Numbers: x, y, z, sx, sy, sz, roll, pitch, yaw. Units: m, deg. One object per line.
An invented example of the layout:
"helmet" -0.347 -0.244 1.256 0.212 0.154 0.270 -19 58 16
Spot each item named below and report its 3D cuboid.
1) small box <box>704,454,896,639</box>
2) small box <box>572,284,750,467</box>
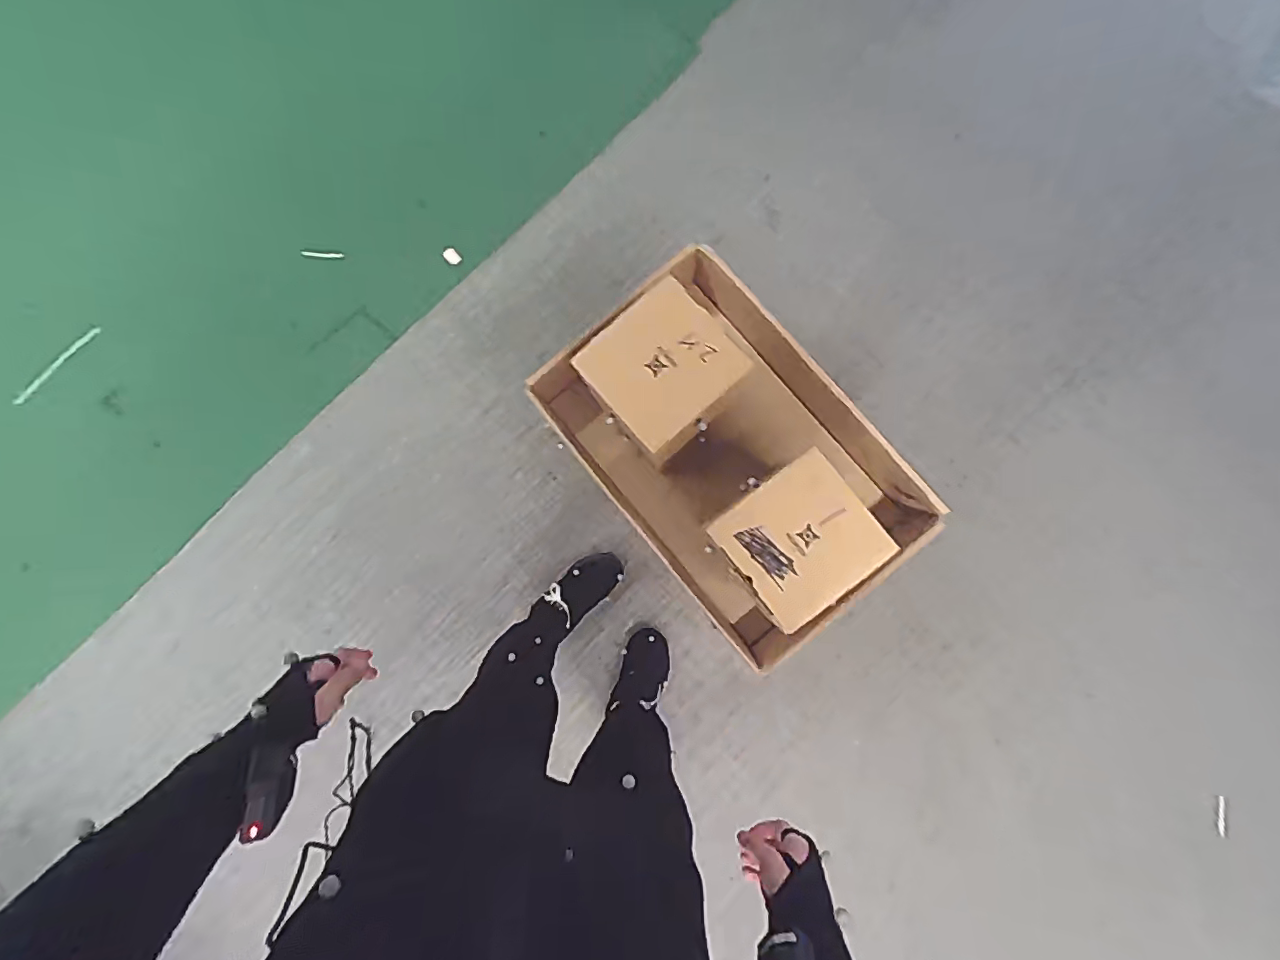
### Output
"small box" 0.203 0.090 0.745 0.179 0.176 0.168 -37 83 -2
"small box" 0.032 -0.134 0.774 0.179 0.176 0.168 -41 84 0
